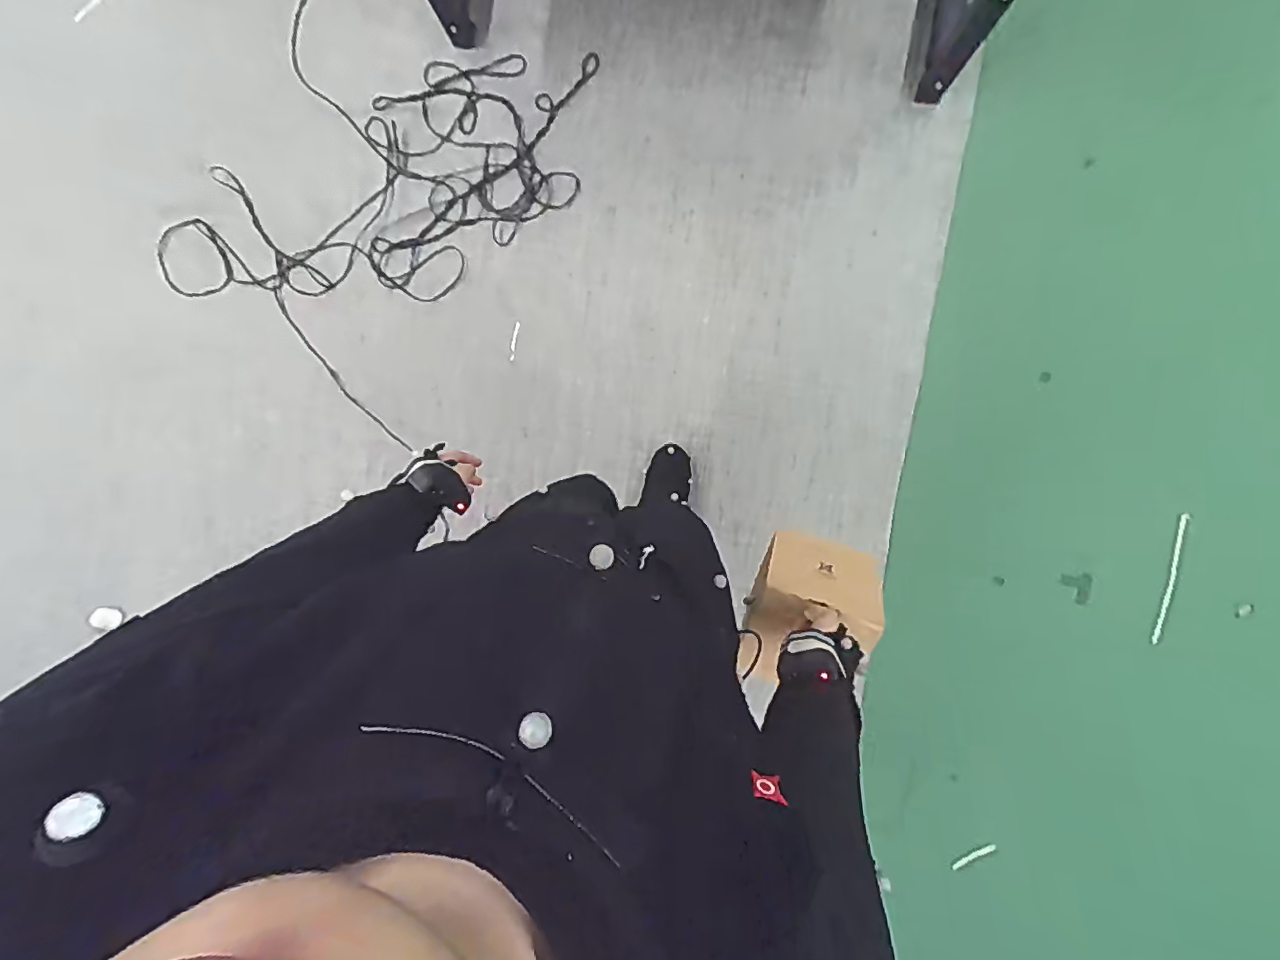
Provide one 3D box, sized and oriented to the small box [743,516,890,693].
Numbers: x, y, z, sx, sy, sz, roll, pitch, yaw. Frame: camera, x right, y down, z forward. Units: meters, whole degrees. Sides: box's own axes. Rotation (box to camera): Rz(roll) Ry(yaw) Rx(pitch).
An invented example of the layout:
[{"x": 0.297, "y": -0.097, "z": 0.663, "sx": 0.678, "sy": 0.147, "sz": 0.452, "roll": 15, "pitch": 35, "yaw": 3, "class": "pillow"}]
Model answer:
[{"x": 0.265, "y": 0.189, "z": 0.831, "sx": 0.168, "sy": 0.179, "sz": 0.176, "roll": 18, "pitch": 120, "yaw": 10, "class": "small box"}]
